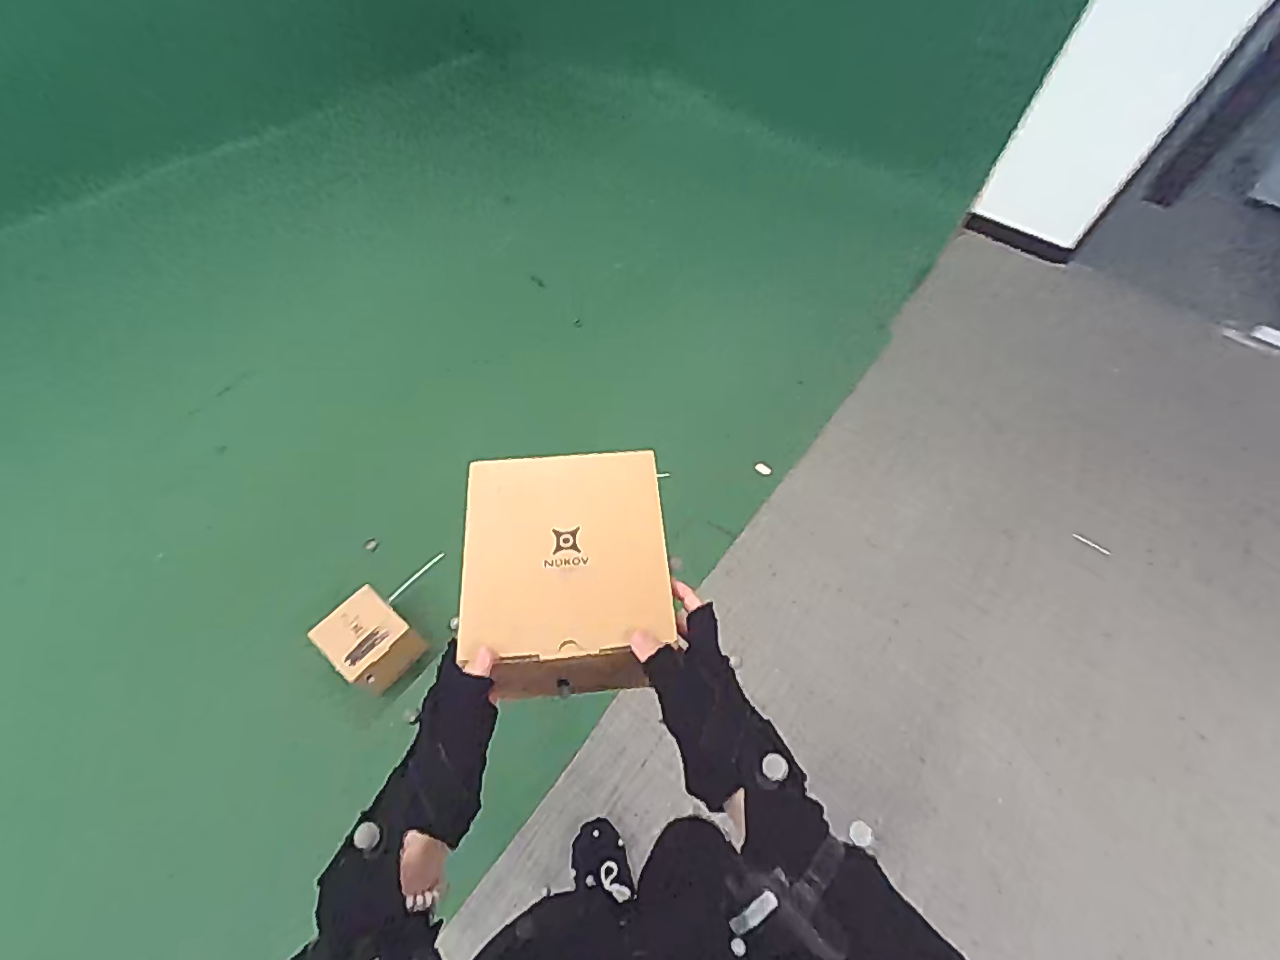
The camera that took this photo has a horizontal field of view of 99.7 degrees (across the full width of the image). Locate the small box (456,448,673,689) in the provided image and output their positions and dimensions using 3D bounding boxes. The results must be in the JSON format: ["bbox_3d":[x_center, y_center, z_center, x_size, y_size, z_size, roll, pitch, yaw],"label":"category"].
[{"bbox_3d":[-0.068,0.089,0.514,0.168,0.176,0.179,-4,62,-6],"label":"small box"}]
